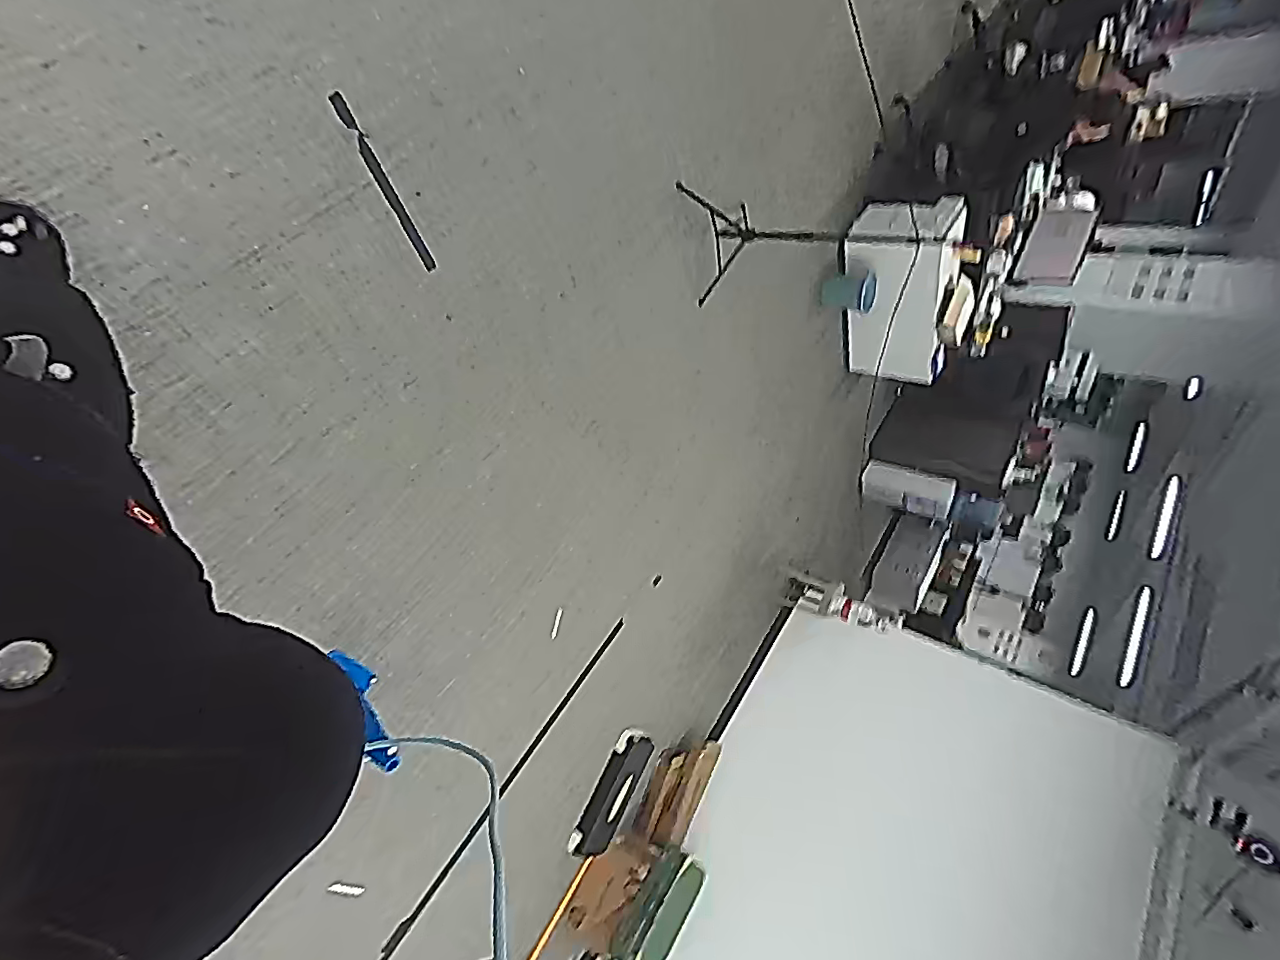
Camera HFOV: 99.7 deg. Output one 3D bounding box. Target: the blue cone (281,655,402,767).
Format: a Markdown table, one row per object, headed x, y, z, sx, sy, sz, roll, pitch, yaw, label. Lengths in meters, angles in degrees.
| x | y | z | sx | sy | sz | roll | pitch | yaw | label |
| --- | --- | --- | --- | --- | --- | --- | --- | --- | --- |
| -0.750 | 0.643 | 1.423 | 0.192 | 0.380 | 0.193 | -51 | 141 | -26 | blue cone |
